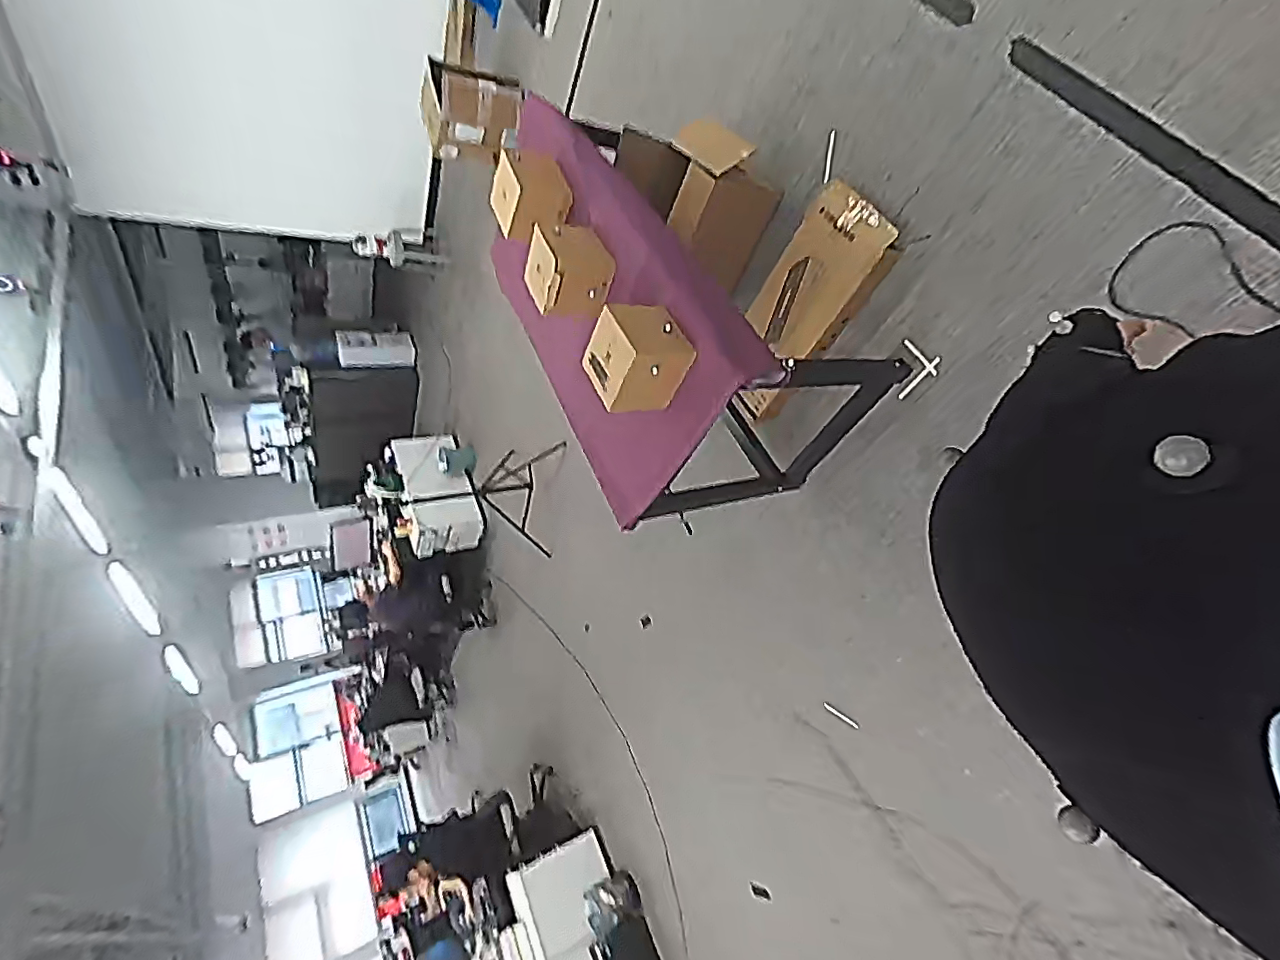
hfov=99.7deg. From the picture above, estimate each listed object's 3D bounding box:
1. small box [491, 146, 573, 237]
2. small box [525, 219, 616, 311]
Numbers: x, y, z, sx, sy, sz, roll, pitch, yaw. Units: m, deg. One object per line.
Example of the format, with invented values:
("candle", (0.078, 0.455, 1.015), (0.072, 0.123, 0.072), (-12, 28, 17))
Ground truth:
("small box", (-0.315, -0.831, 1.578), (0.168, 0.176, 0.179), (-51, 56, 49))
("small box", (-0.188, -0.569, 1.450), (0.179, 0.176, 0.168), (61, 144, 27))
